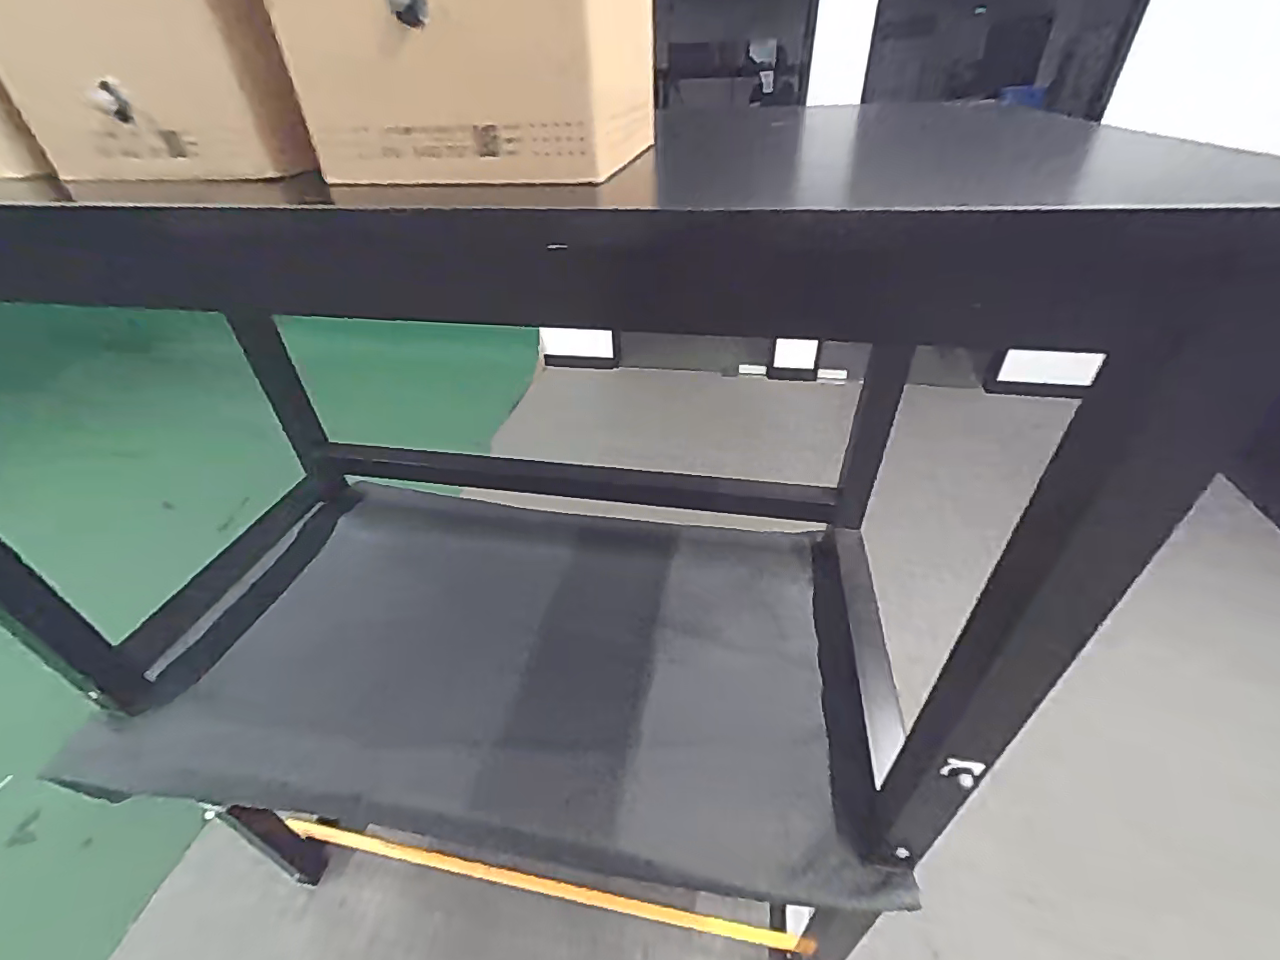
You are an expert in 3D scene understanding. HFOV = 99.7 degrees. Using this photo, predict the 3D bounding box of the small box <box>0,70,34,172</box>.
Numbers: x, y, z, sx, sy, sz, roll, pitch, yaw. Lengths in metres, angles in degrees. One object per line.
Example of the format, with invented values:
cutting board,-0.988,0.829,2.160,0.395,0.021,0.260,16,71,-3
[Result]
small box,-0.679,-0.339,0.442,0.168,0.176,0.179,5,39,9

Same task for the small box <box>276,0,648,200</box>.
small box,-0.088,-0.274,0.324,0.168,0.176,0.179,5,38,9
